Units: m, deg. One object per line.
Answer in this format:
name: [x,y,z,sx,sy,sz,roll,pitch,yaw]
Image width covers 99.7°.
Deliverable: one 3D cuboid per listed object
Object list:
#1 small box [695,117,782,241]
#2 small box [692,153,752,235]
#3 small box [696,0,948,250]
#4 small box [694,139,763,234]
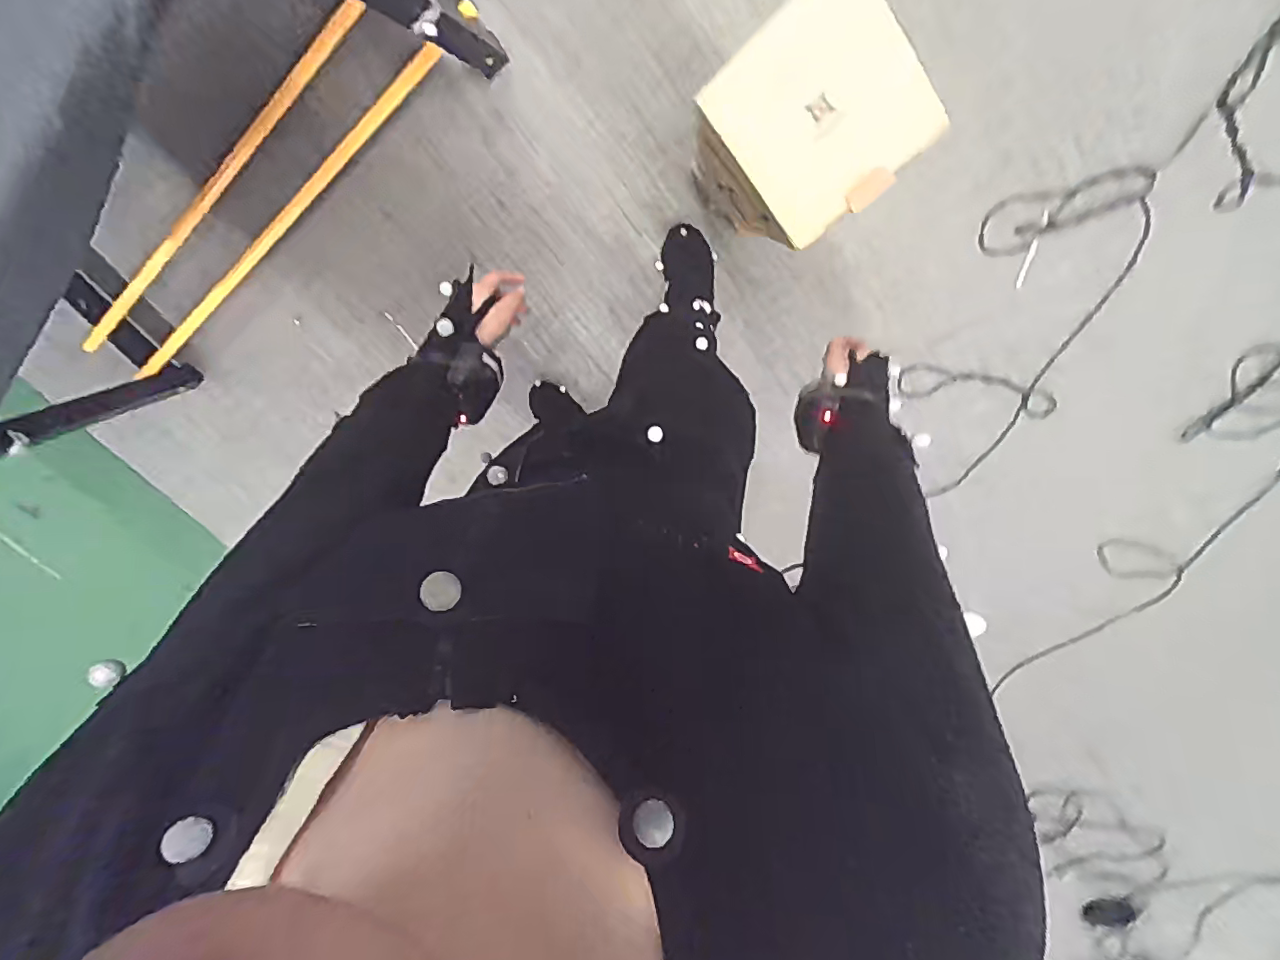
small box: [0.189,-0.448,0.711,0.168,0.176,0.179,-36,109,20]
small box: [0.212,-0.587,1.008,0.179,0.176,0.168,-37,106,22]
small box: [0.176,-0.374,0.567,0.168,0.176,0.179,-36,107,21]
small box: [0.204,-0.519,0.859,0.179,0.176,0.168,-36,108,21]
